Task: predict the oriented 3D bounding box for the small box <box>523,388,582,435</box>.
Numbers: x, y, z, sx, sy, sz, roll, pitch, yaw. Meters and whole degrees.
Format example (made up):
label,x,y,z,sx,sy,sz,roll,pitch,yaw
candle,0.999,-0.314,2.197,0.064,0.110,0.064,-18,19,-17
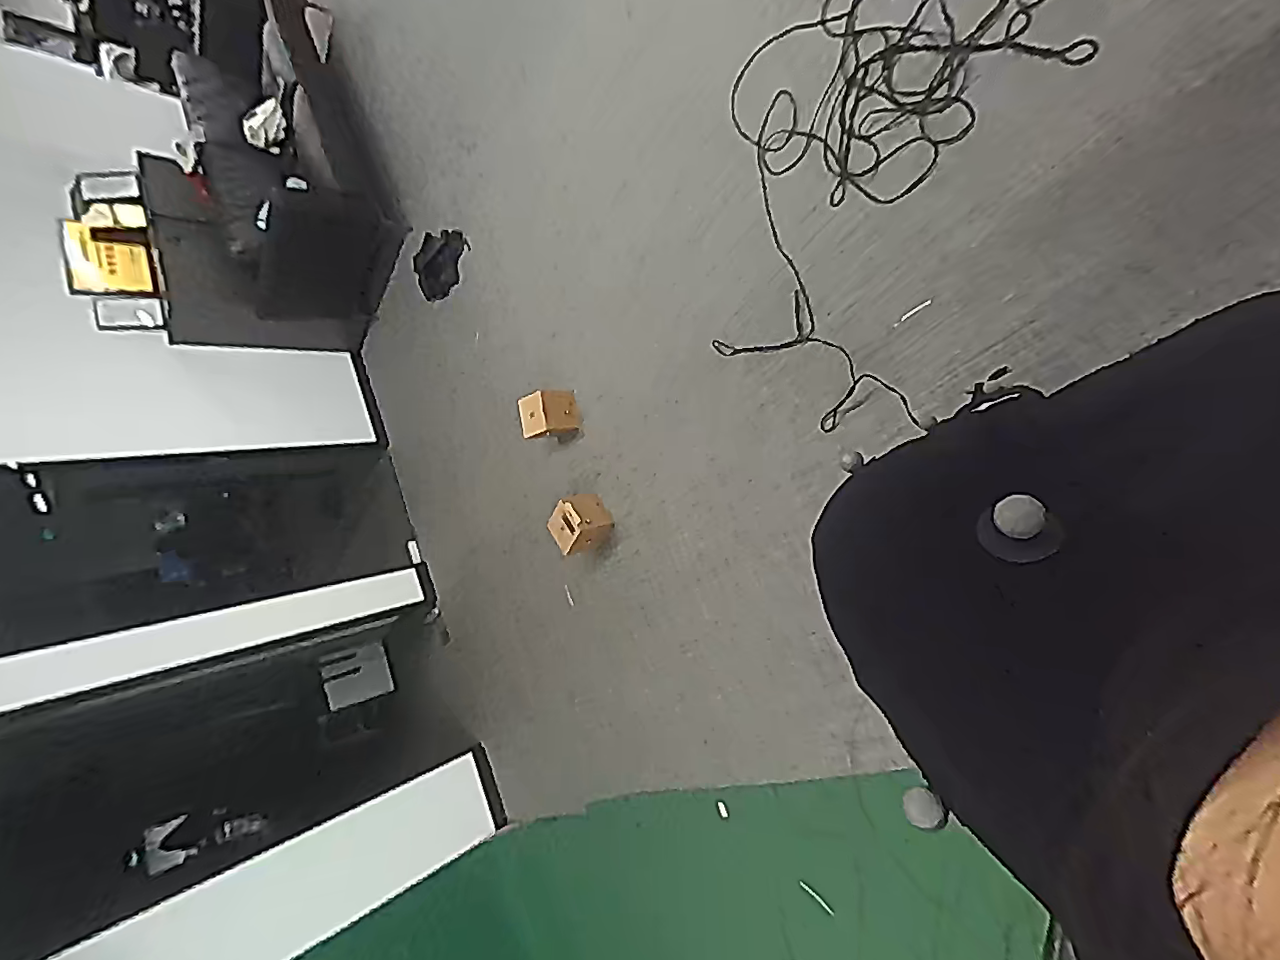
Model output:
label,x,y,z,sx,sy,sz,roll,pitch,yaw
small box,-0.367,-0.284,2.273,0.179,0.176,0.168,-13,86,46
